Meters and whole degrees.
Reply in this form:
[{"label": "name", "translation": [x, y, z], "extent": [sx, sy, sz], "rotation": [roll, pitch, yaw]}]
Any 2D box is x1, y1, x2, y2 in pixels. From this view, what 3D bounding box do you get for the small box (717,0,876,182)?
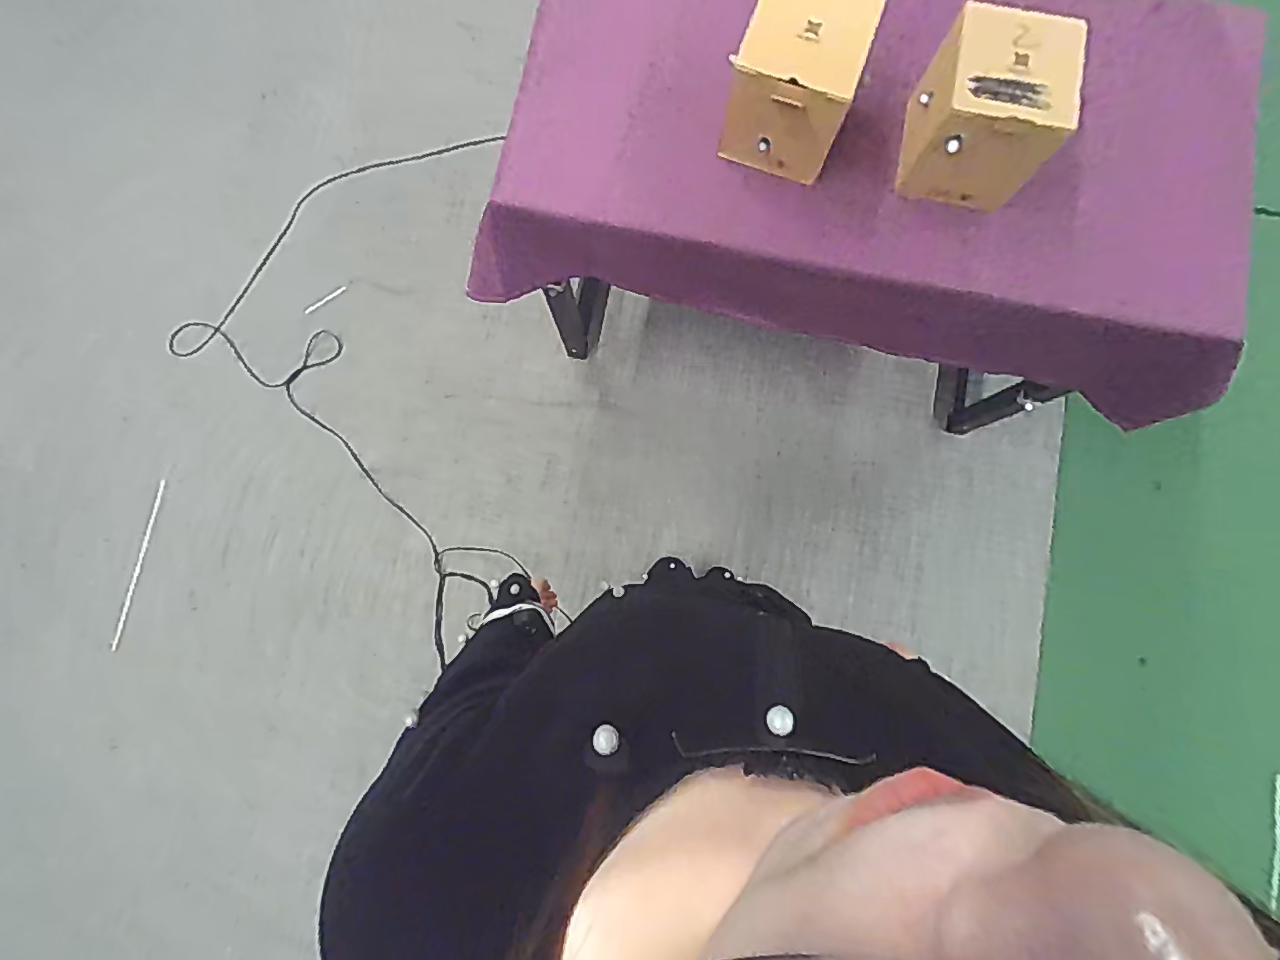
[{"label": "small box", "translation": [0.226, -0.605, 0.826], "extent": [0.168, 0.176, 0.179], "rotation": [19, 83, 3]}]
